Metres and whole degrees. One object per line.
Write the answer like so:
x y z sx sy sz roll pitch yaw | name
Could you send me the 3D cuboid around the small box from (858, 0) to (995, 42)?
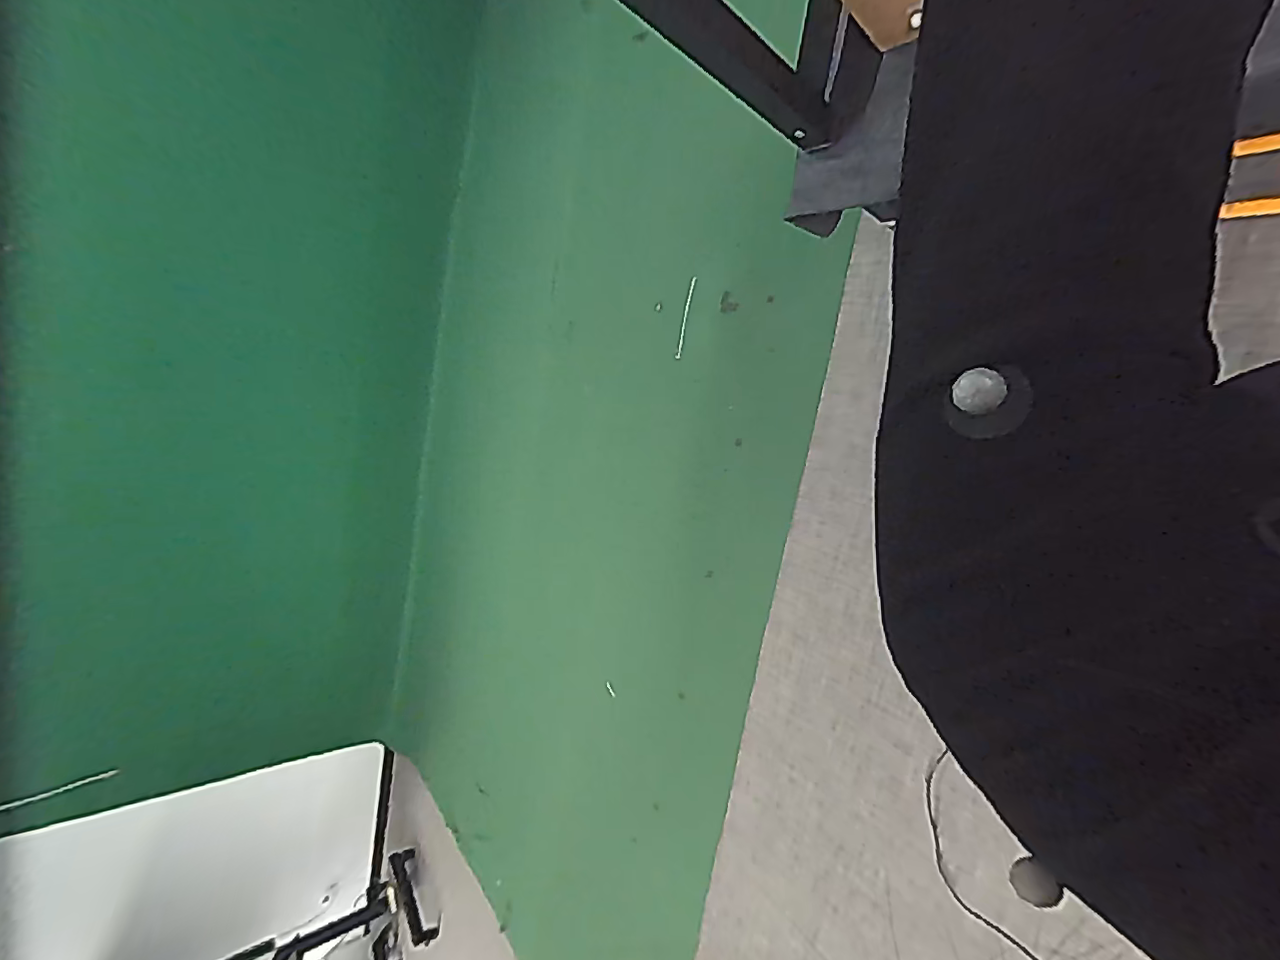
0.377 -0.733 0.701 0.168 0.176 0.179 18 102 47 | small box
